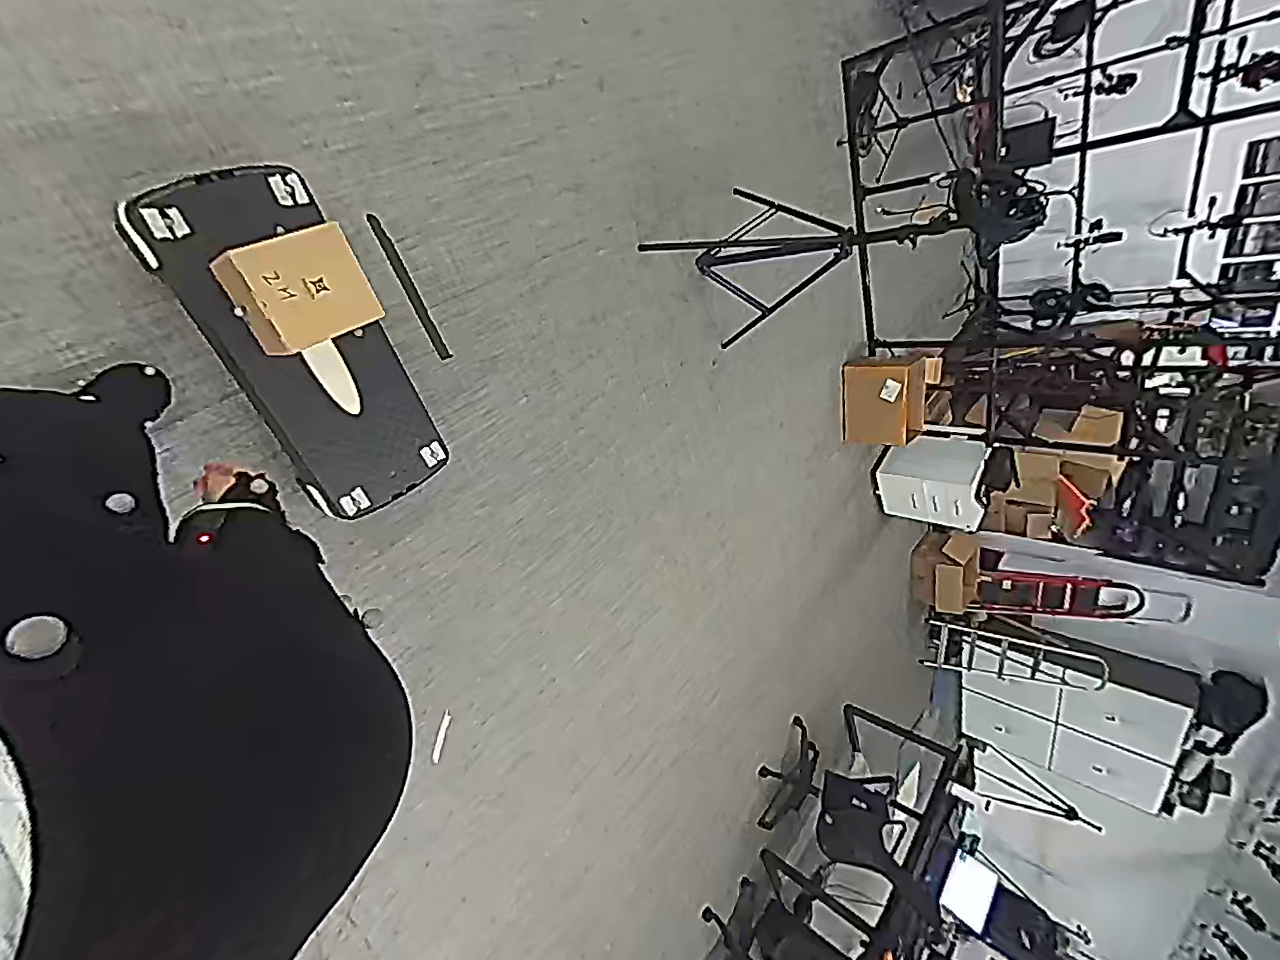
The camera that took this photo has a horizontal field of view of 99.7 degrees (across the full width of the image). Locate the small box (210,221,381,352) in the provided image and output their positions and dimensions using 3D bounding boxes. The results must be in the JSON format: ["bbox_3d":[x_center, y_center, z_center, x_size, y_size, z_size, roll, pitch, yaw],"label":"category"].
[{"bbox_3d":[-0.598,-0.333,0.941,0.179,0.176,0.168,-39,124,-34],"label":"small box"}]

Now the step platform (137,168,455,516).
[{"bbox_3d":[-0.672,-0.259,1.136,0.286,0.204,0.684,-40,125,-33],"label":"step platform"}]
